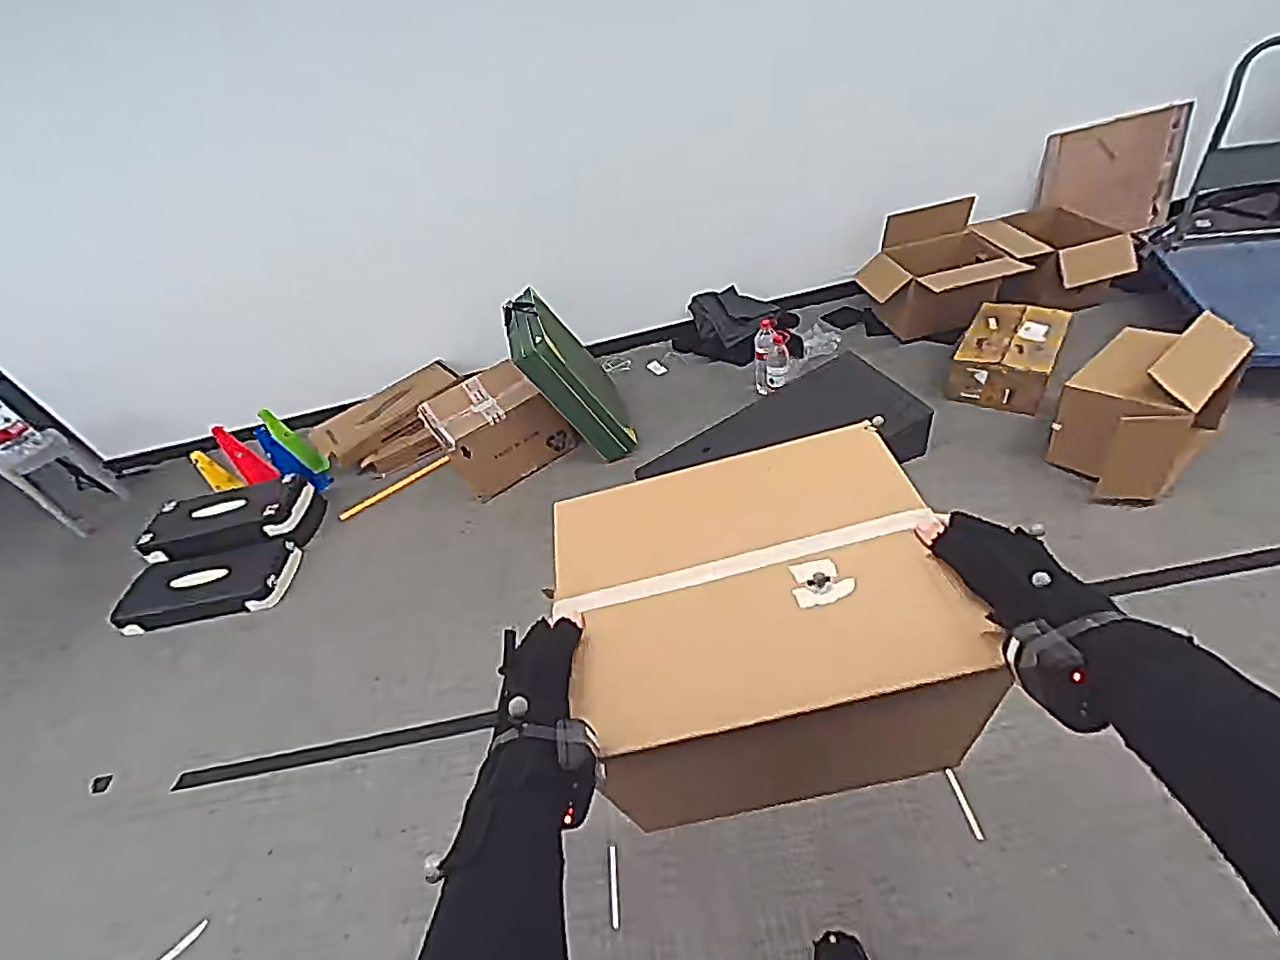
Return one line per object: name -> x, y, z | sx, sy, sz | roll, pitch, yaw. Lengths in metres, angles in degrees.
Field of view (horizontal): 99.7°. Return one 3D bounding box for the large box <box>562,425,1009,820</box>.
large box -> 0.143, 0.186, 0.689 | 0.408, 0.320, 0.320 | -14, 46, 3
